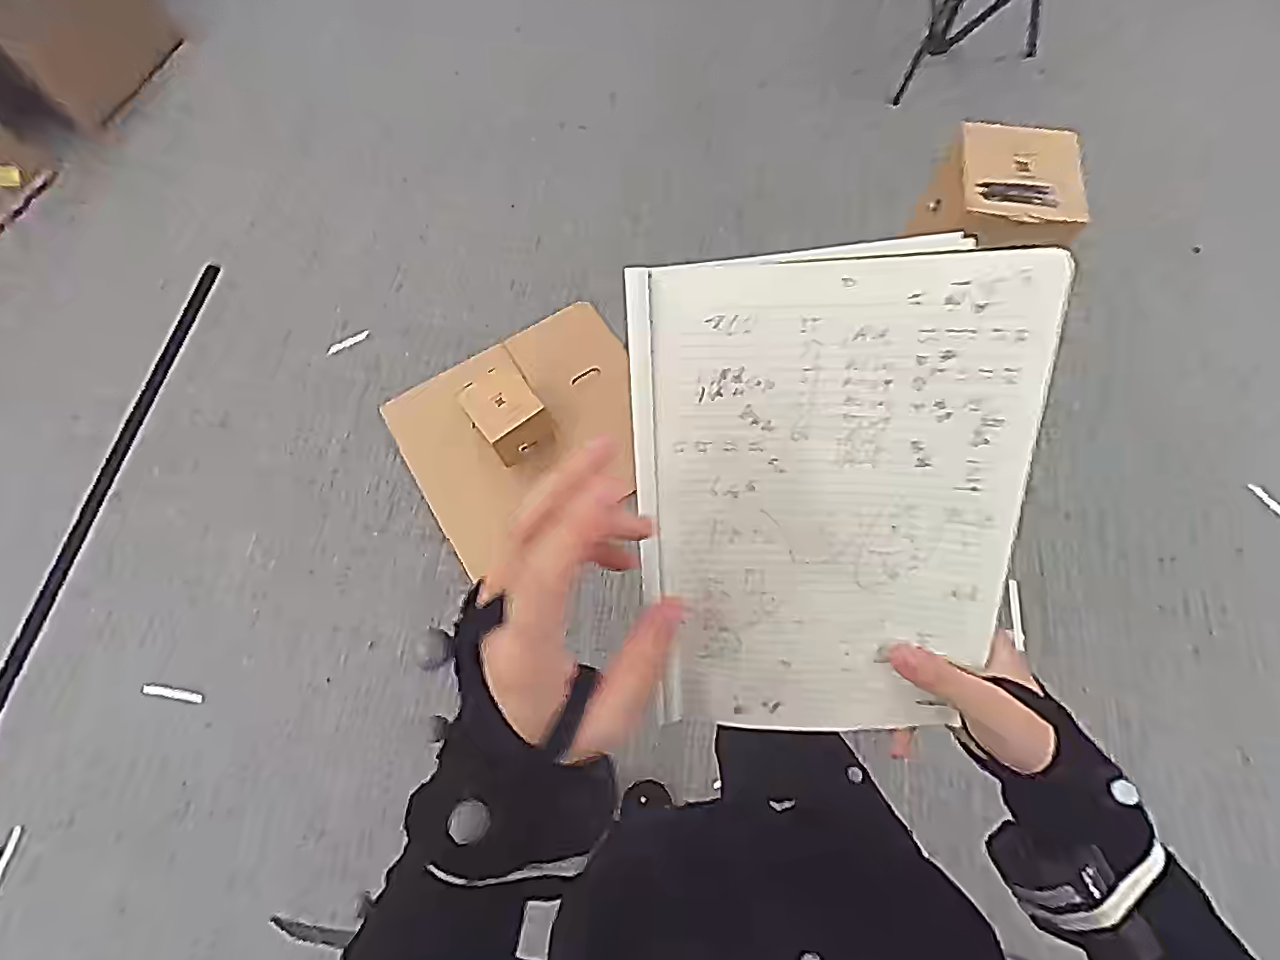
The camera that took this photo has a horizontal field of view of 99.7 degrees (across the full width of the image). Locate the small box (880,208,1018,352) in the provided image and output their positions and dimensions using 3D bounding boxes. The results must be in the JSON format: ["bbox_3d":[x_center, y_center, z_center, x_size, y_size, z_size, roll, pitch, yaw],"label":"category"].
[{"bbox_3d":[0.559,-0.360,0.998,0.168,0.176,0.179,11,73,4],"label":"small box"}]

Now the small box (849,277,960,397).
[{"bbox_3d":[0.560,-0.298,1.150,0.168,0.176,0.179,13,72,6],"label":"small box"}]

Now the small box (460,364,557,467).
[{"bbox_3d":[-0.343,-0.165,1.437,0.168,0.176,0.179,-38,76,-11],"label":"small box"}]
